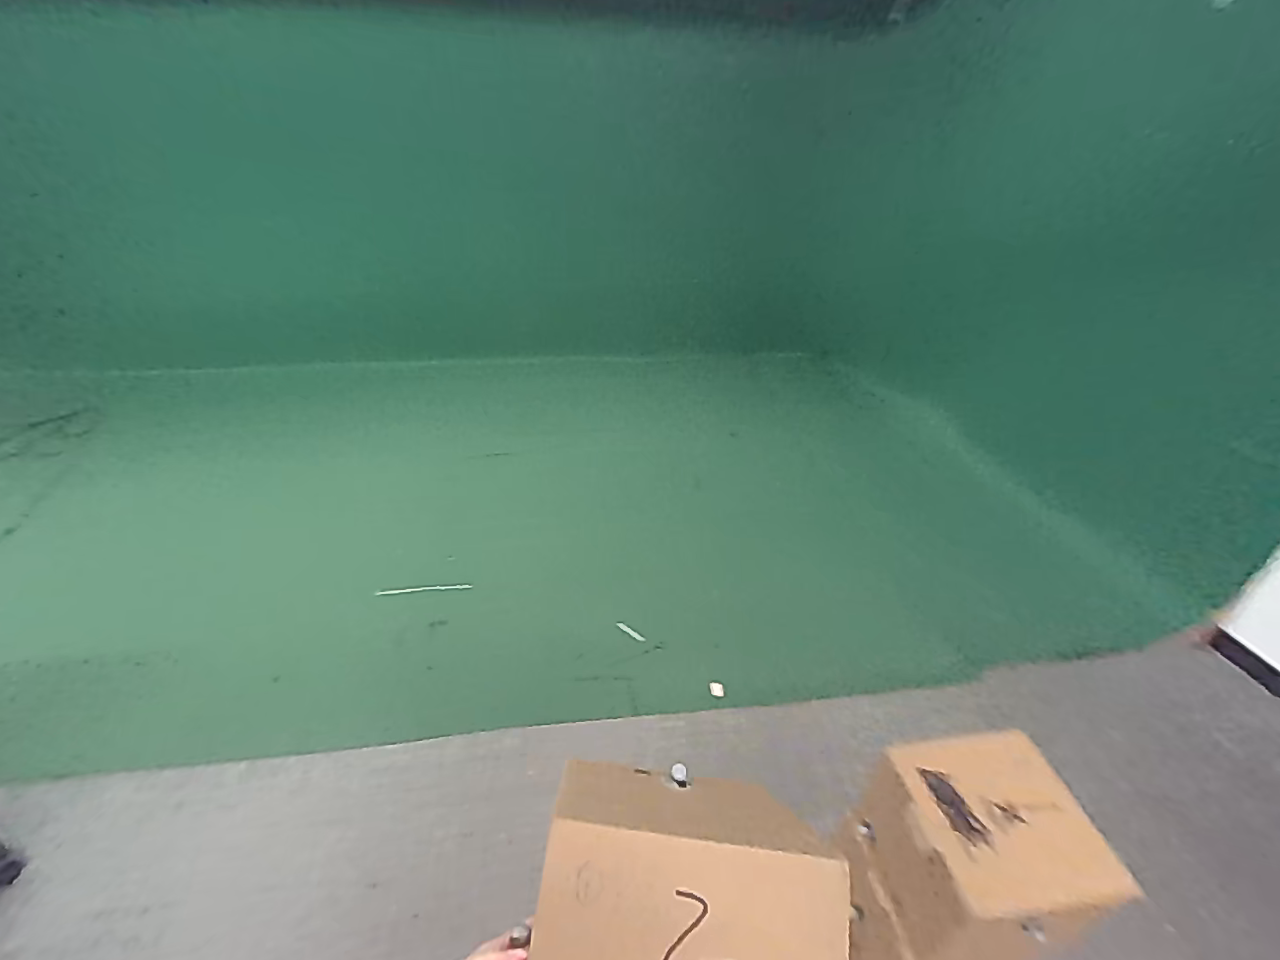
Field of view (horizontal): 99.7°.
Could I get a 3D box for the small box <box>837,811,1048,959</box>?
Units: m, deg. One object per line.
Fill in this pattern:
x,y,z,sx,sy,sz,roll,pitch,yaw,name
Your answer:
0.375,0.550,0.707,0.179,0.176,0.168,-5,36,-5,small box

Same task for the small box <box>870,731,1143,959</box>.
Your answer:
0.383,0.415,0.612,0.179,0.176,0.168,-4,35,-7,small box
